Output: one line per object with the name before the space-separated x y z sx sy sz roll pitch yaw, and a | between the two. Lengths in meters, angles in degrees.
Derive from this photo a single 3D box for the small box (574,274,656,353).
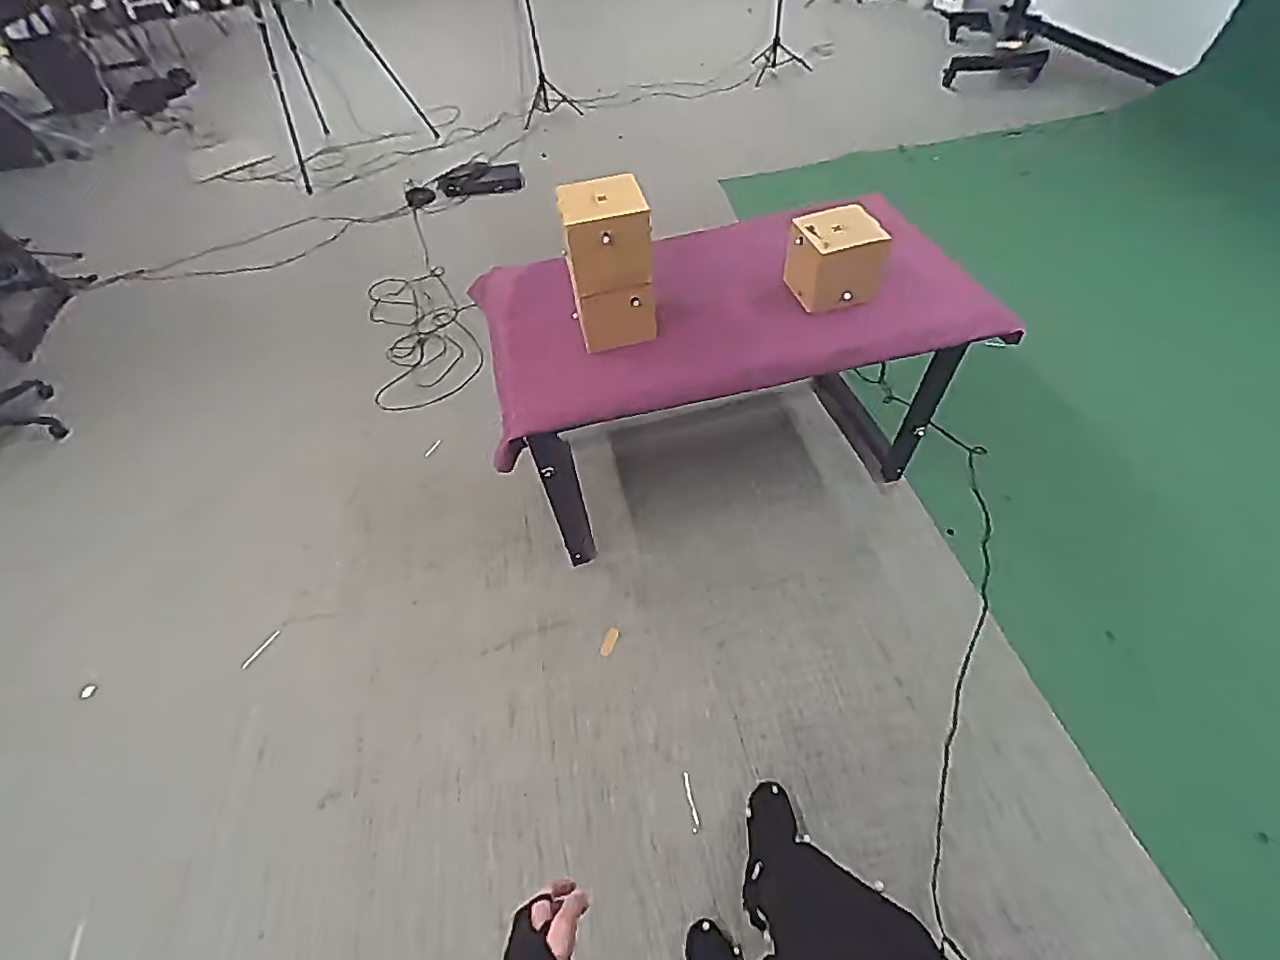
small box | -0.061 -0.436 1.320 0.179 0.176 0.168 -13 53 -4

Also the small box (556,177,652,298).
small box | -0.074 -0.528 1.187 0.179 0.176 0.168 -14 54 -3

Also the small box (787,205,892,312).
small box | 0.483 -0.545 1.339 0.179 0.176 0.168 -15 54 -4
